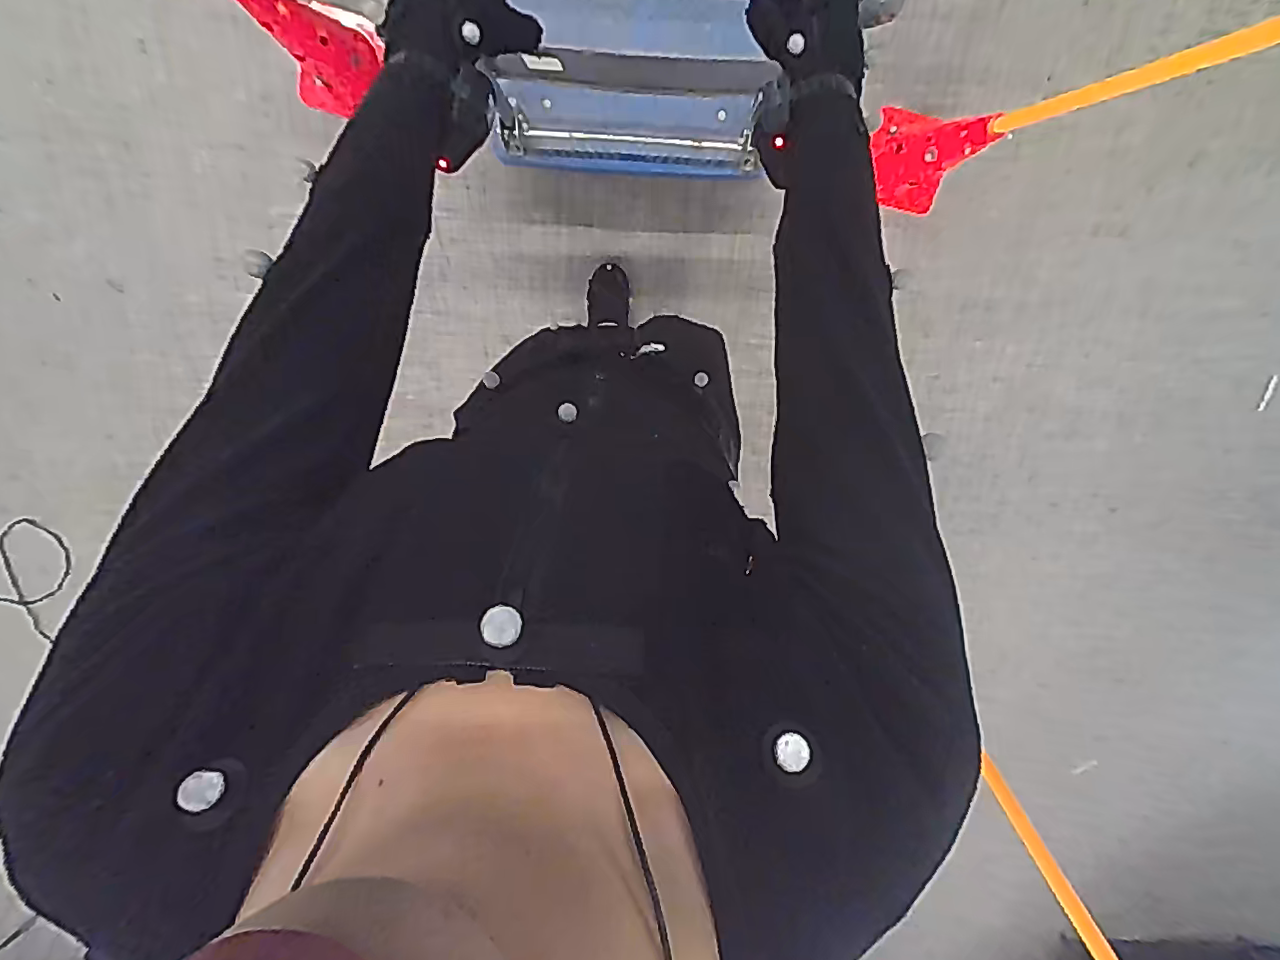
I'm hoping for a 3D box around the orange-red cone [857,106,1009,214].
[{"bbox_3d":[0.635,-0.692,1.121,0.198,0.360,0.199,12,111,-5],"label":"orange-red cone"}]
